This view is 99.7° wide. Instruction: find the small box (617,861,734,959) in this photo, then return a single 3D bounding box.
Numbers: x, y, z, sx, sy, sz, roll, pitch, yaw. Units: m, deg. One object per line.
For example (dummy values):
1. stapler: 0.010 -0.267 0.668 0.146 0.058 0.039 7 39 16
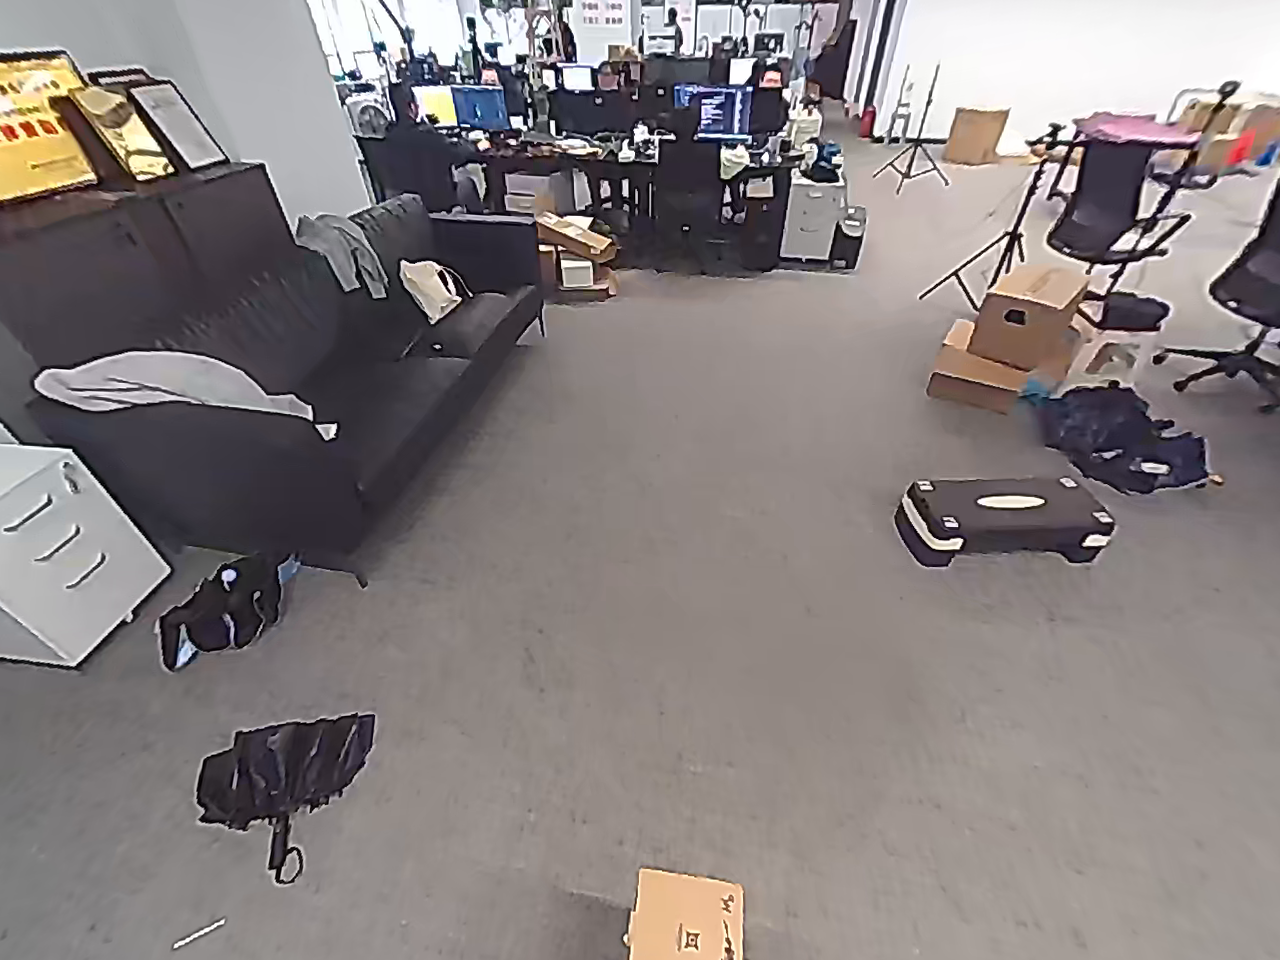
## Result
1. small box: 0.062 0.770 0.901 0.179 0.176 0.168 4 41 8
